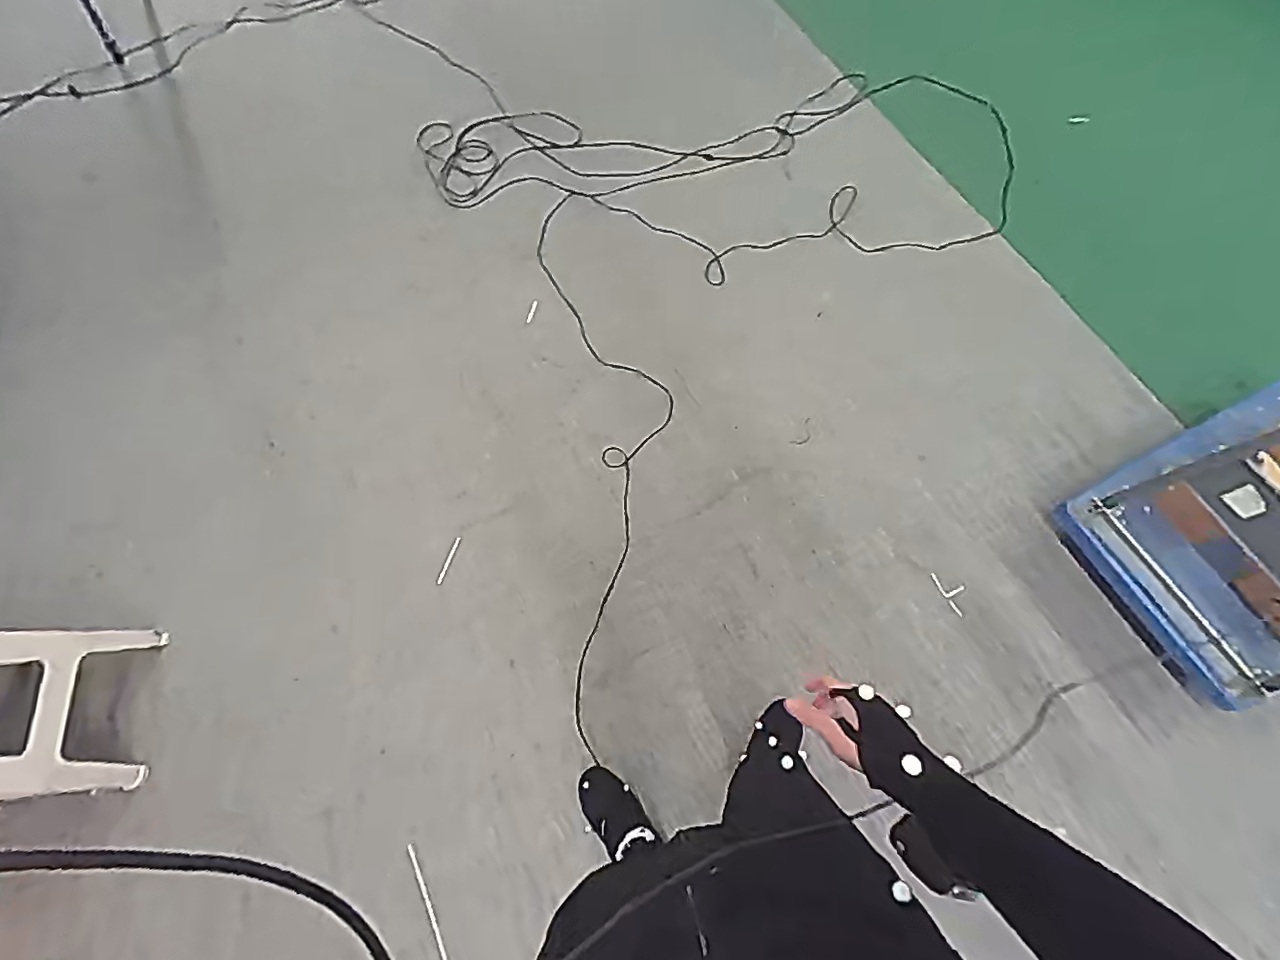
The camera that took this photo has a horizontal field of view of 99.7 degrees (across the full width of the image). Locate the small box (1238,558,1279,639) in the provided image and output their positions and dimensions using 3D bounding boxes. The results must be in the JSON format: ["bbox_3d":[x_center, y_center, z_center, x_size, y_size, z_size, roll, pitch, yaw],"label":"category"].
[{"bbox_3d":[1.572,0.261,1.243,0.179,0.176,0.168,-25,71,-7],"label":"small box"}]

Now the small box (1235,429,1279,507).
[{"bbox_3d":[1.686,-0.054,1.362,0.179,0.176,0.168,-29,72,-10],"label":"small box"}]
